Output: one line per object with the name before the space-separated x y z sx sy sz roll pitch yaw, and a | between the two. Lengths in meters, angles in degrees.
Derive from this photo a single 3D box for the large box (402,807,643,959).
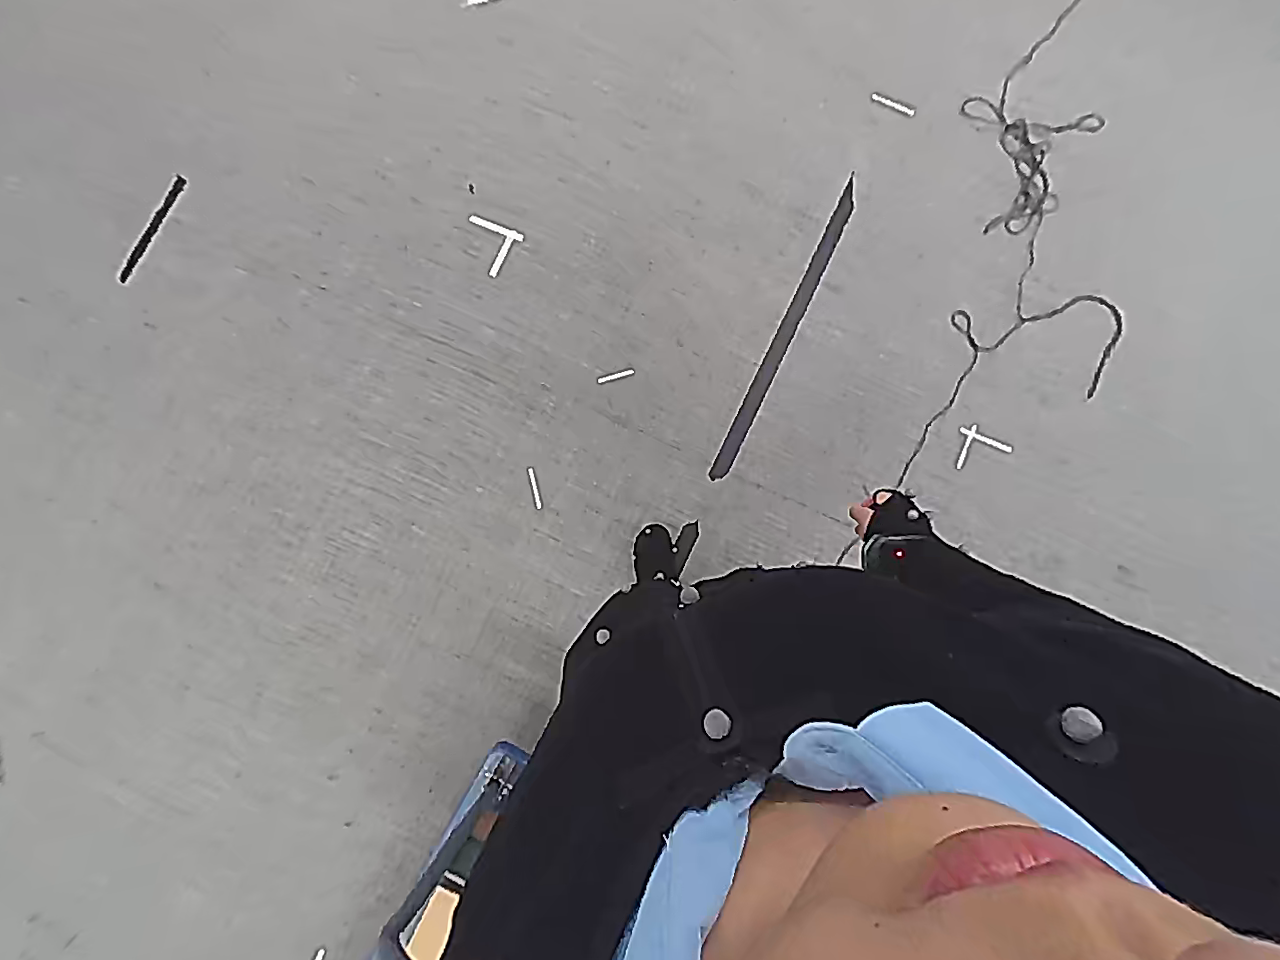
large box | -0.234 0.946 1.074 0.408 0.320 0.320 25 82 4
